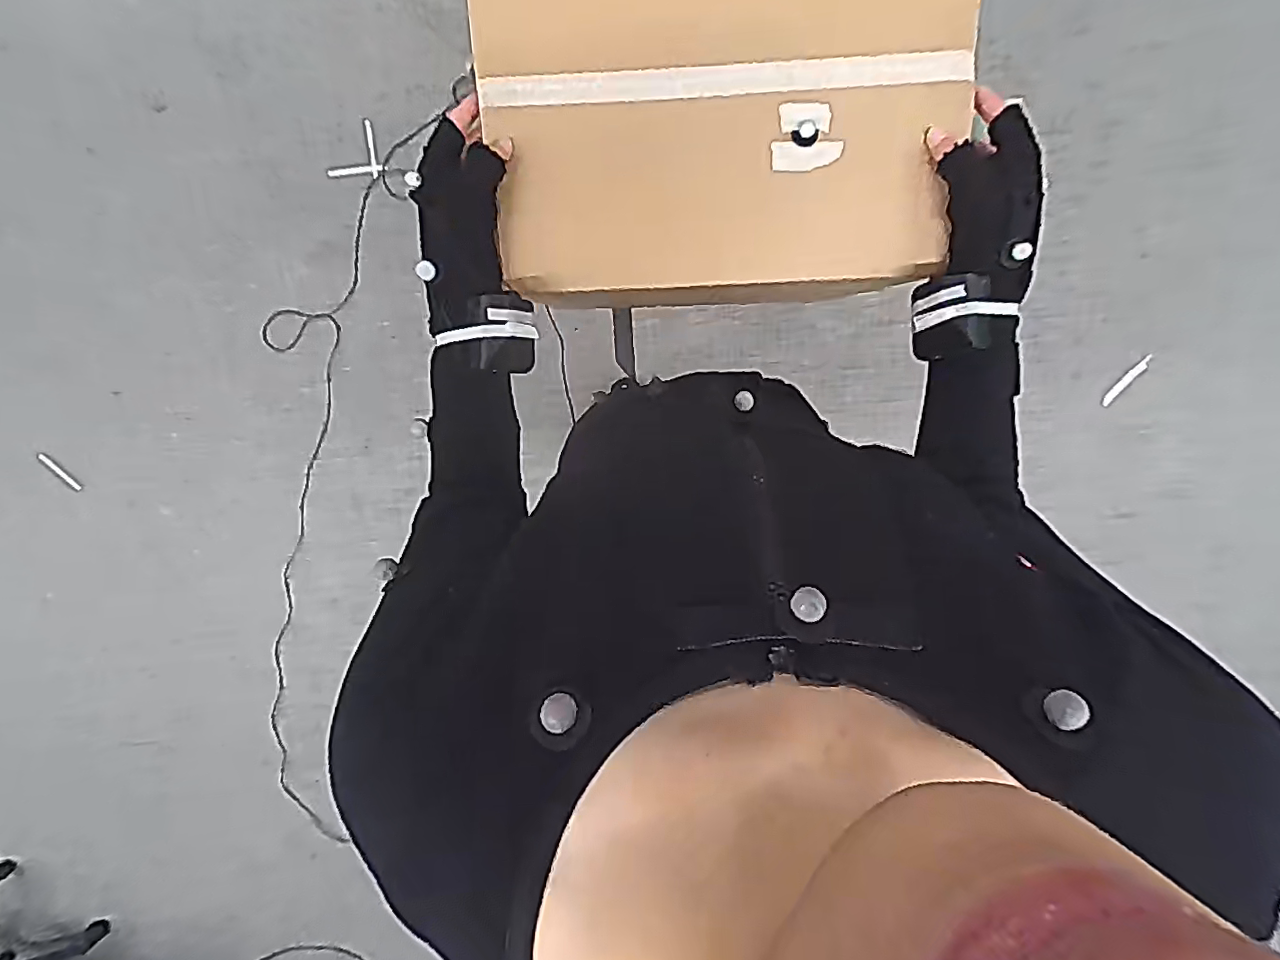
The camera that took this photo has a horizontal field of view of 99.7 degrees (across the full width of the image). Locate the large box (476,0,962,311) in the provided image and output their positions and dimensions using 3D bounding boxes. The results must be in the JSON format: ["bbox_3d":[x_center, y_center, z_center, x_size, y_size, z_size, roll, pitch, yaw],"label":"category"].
[{"bbox_3d":[0.066,-0.370,0.602,0.408,0.320,0.320,-2,104,1],"label":"large box"}]
